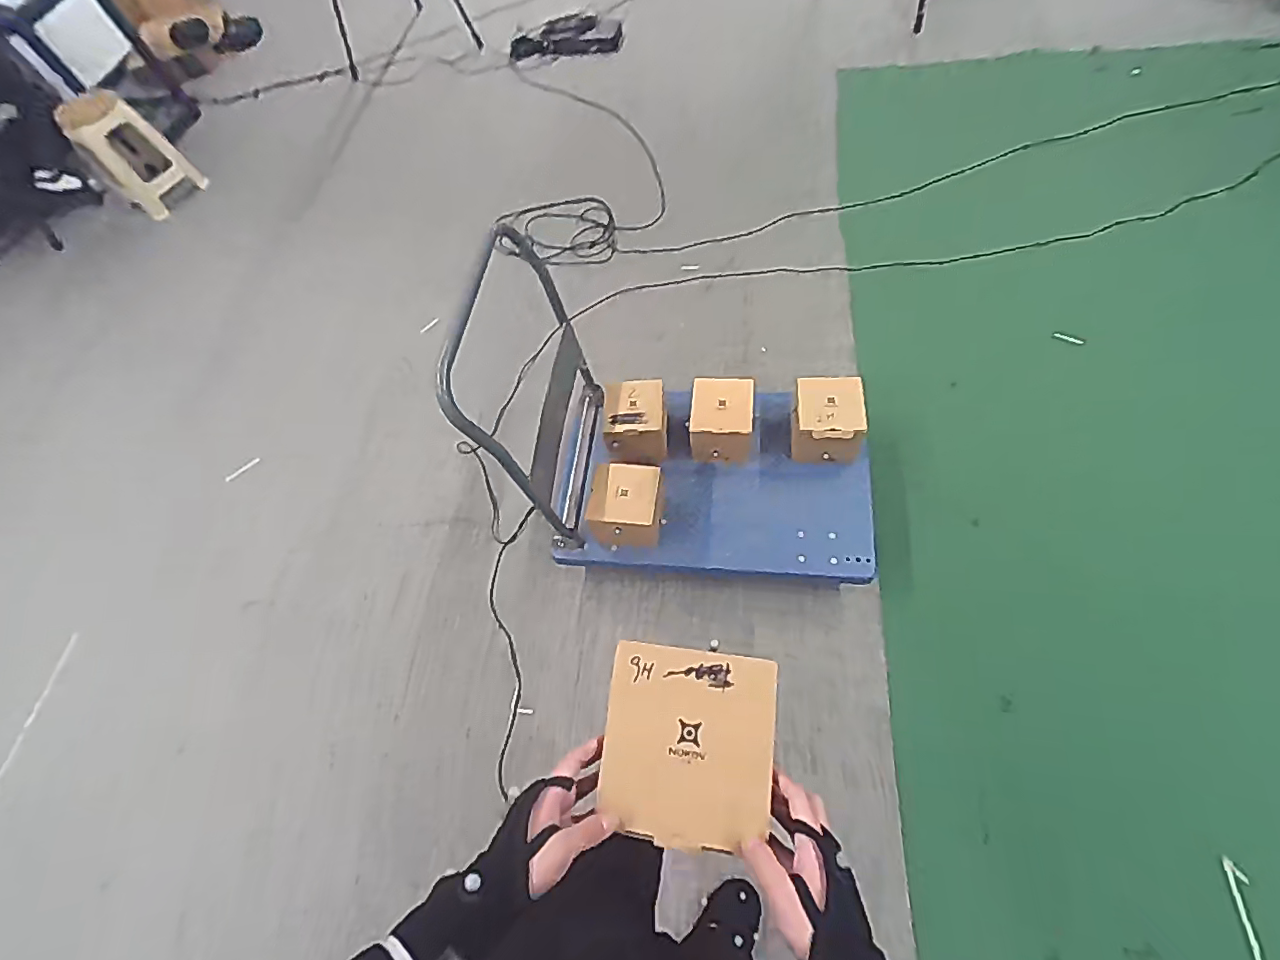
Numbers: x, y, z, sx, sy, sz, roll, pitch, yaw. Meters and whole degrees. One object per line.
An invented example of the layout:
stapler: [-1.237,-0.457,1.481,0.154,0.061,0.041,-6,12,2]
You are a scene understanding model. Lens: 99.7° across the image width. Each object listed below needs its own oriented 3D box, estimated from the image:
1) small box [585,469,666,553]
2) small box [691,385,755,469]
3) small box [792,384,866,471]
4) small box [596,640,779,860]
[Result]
small box: [-0.032,0.085,1.444,0.179,0.176,0.168,5,63,10]
small box: [0.235,-0.149,1.533,0.168,0.176,0.179,3,64,10]
small box: [0.511,-0.144,1.485,0.168,0.176,0.179,1,63,10]
small box: [0.059,0.283,0.606,0.168,0.176,0.179,5,72,9]
